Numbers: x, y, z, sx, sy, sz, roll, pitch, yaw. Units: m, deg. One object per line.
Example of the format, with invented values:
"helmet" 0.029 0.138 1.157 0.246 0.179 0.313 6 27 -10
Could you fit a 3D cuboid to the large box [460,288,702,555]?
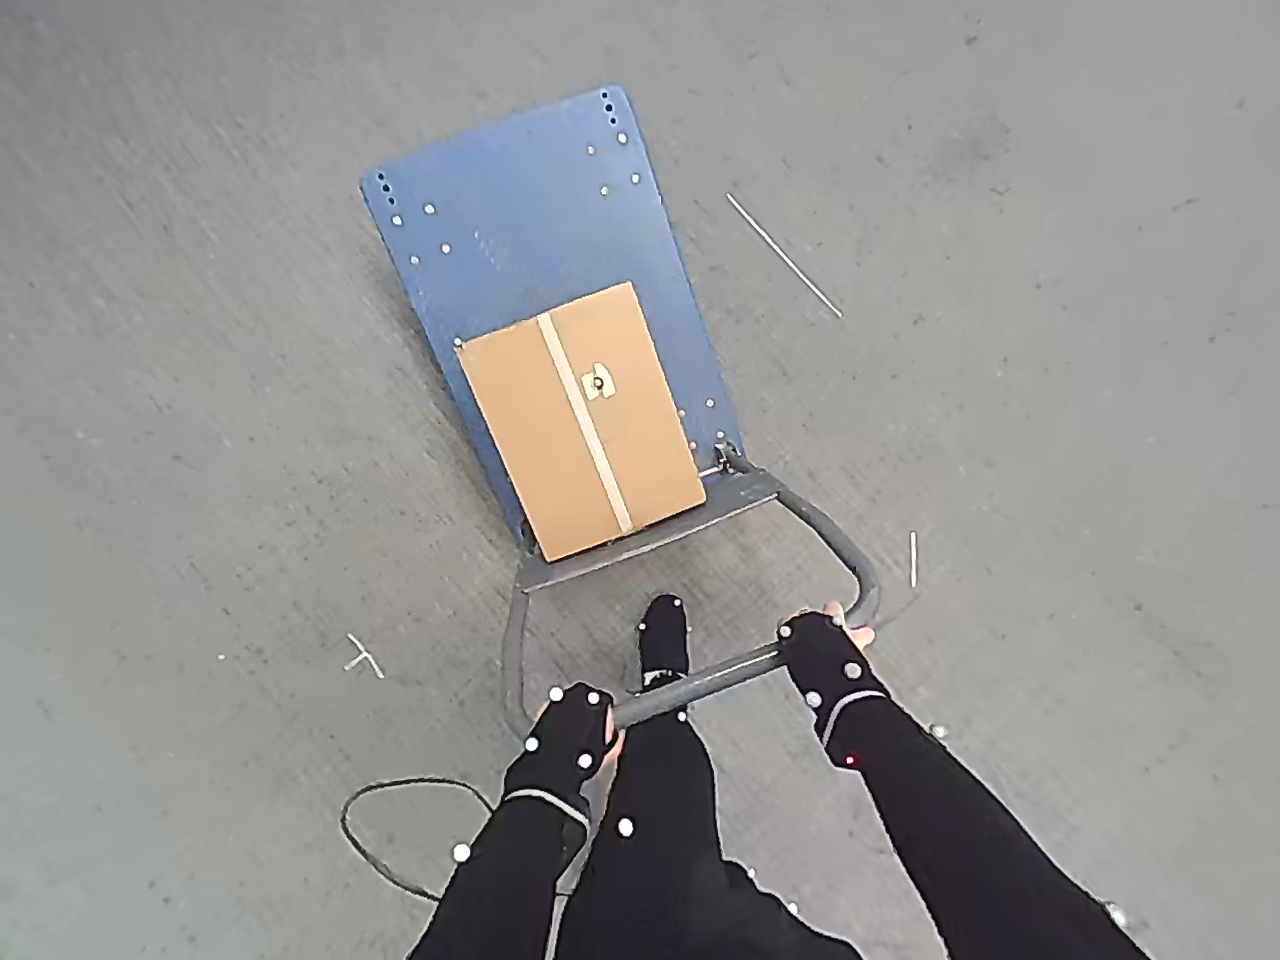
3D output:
"large box" -0.106 -0.121 1.102 0.320 0.320 0.408 -21 102 -1
